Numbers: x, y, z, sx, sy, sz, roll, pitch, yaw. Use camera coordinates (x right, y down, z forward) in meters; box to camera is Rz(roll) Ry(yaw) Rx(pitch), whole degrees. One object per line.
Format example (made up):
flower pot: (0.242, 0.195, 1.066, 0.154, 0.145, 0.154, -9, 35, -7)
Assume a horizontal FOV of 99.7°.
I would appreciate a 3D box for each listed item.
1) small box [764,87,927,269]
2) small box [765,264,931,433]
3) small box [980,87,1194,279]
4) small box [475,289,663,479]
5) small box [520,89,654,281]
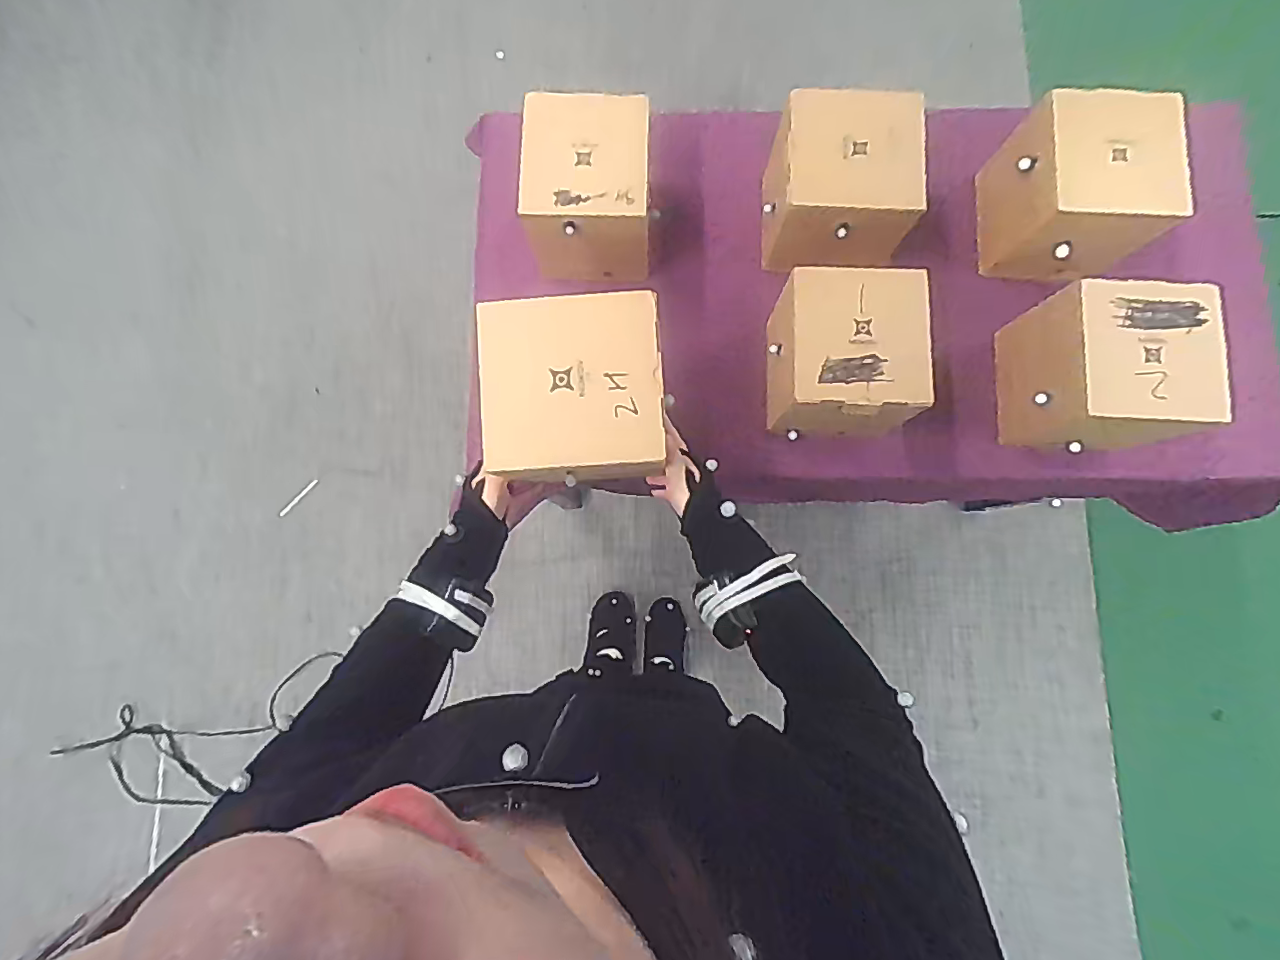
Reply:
small box: (0.279, -0.413, 0.767, 0.179, 0.176, 0.168, 4, 83, 1)
small box: (0.269, -0.166, 0.731, 0.168, 0.176, 0.179, 2, 81, 2)
small box: (0.606, -0.402, 0.757, 0.168, 0.176, 0.179, 4, 81, 2)
small box: (-0.065, -0.090, 0.588, 0.179, 0.176, 0.168, -3, 86, 1)
small box: (-0.067, -0.412, 0.774, 0.168, 0.176, 0.179, 2, 82, 1)
